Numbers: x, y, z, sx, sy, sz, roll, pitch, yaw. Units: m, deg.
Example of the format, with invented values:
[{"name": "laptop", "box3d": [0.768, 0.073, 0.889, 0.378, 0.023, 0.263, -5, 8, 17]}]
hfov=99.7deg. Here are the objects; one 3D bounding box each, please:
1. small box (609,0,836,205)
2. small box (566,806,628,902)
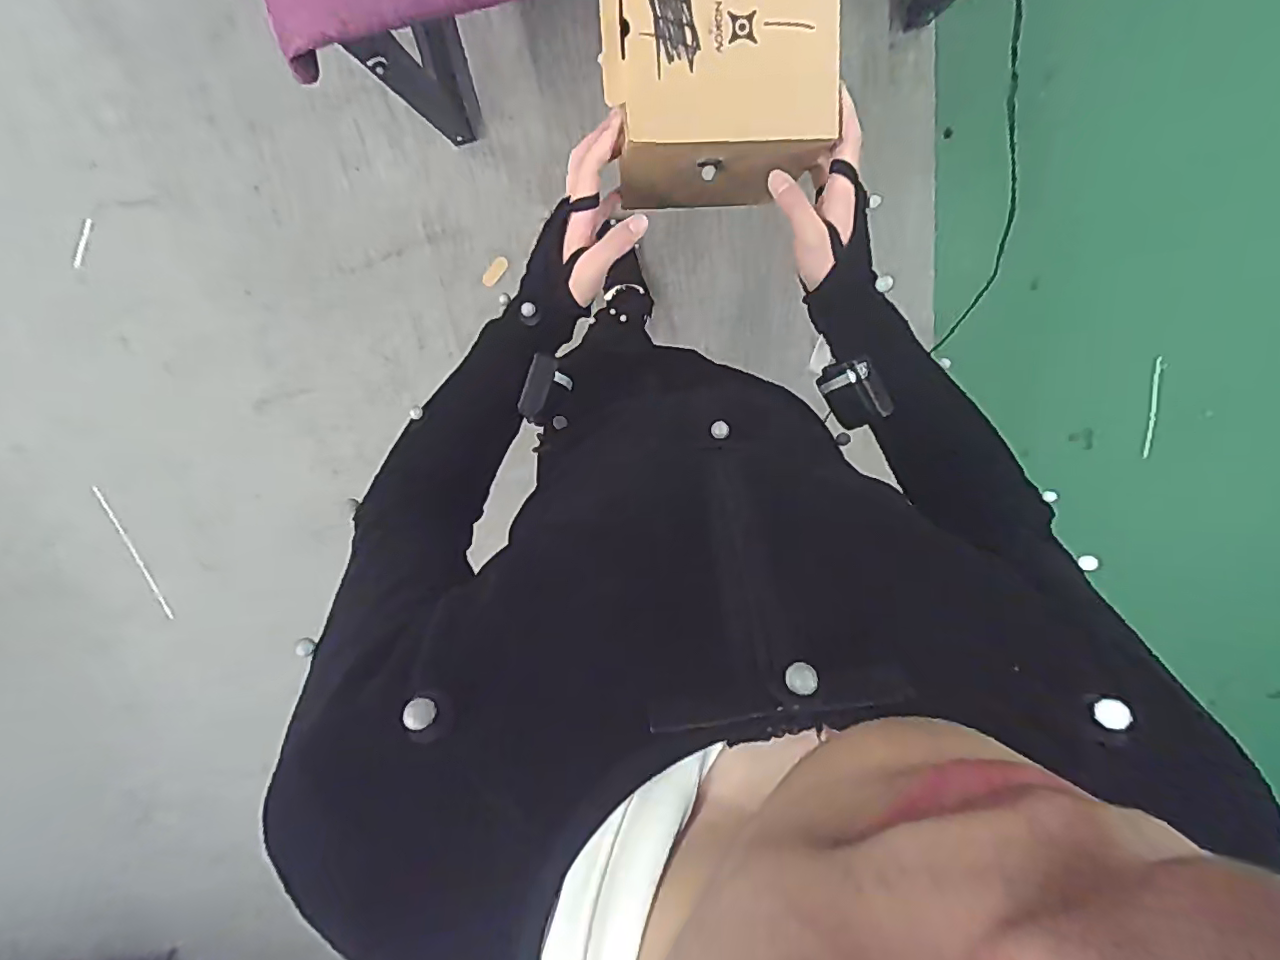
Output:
[{"name": "small box", "box3d": [0.061, -0.366, 0.497, 0.179, 0.176, 0.168, -4, 101, -4]}, {"name": "small box", "box3d": [-0.124, 1.105, 1.612, 0.168, 0.176, 0.179, -5, 107, 0]}]
